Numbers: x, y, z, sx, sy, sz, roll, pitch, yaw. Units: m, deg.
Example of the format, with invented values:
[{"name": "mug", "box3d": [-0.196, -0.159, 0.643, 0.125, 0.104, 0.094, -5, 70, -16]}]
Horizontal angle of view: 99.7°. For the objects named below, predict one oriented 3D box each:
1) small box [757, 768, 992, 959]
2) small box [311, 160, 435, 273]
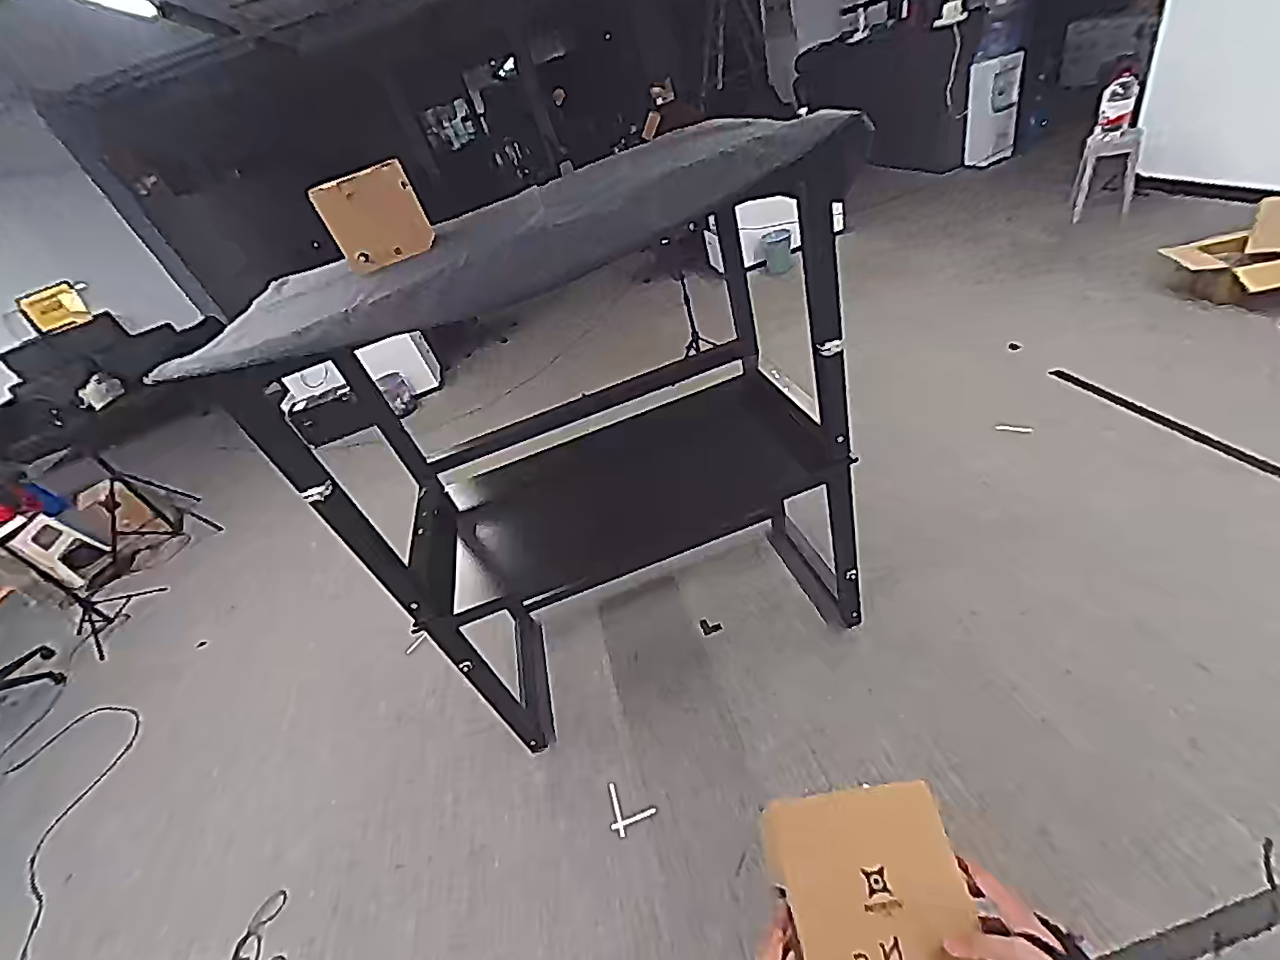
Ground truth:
[{"name": "small box", "box3d": [0.228, 0.429, 0.577, 0.168, 0.176, 0.179, -9, 52, 0]}, {"name": "small box", "box3d": [-0.564, -0.566, 1.169, 0.168, 0.176, 0.179, -21, 36, -1]}]
